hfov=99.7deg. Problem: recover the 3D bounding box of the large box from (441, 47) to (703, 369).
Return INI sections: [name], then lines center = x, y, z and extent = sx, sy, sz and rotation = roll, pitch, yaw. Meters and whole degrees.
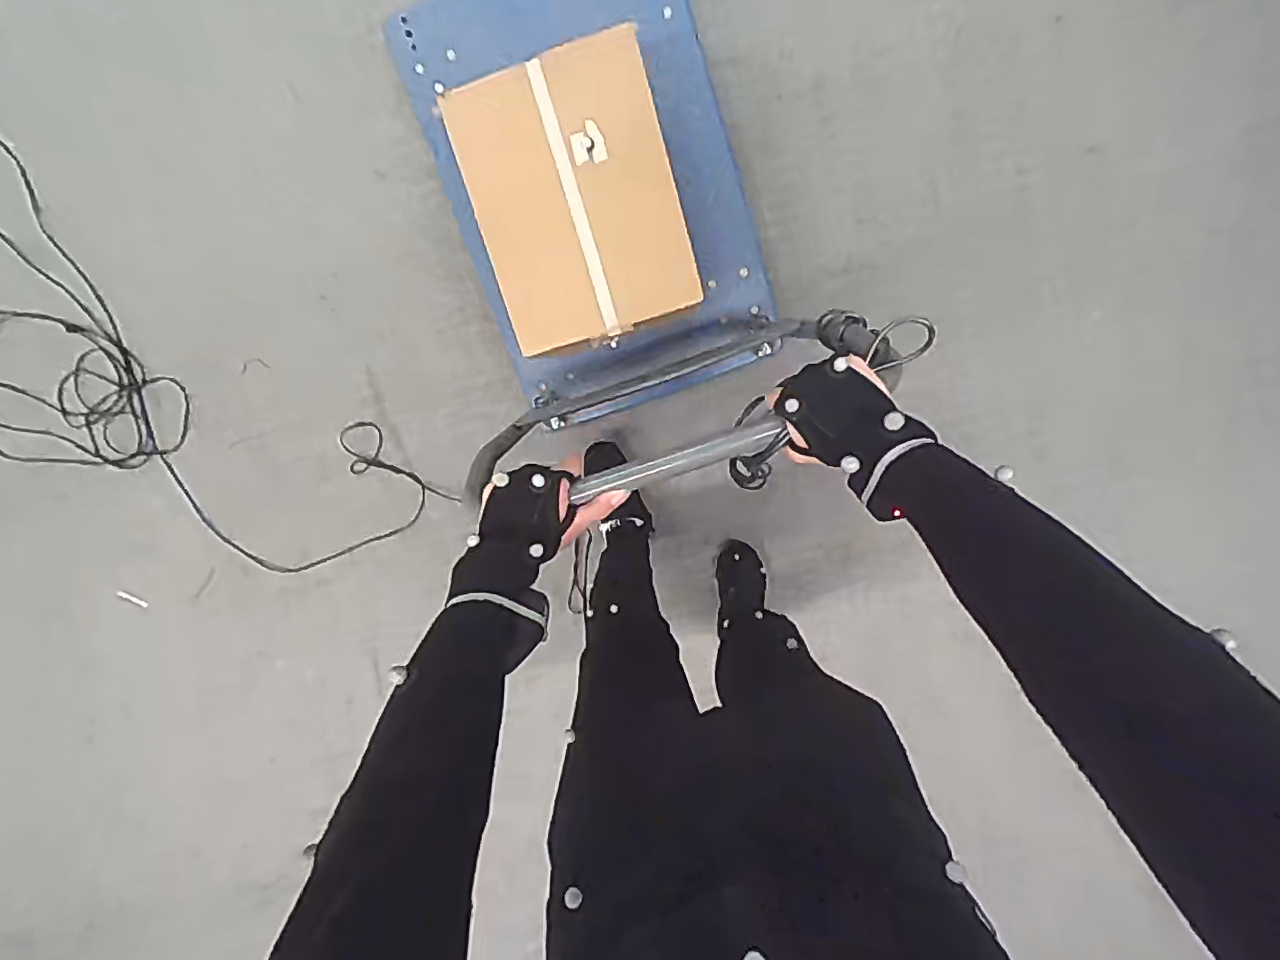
[large box]
center = -0.093, -0.443, 0.993
extent = 0.320, 0.320, 0.408
rotation = -16, 101, 6
